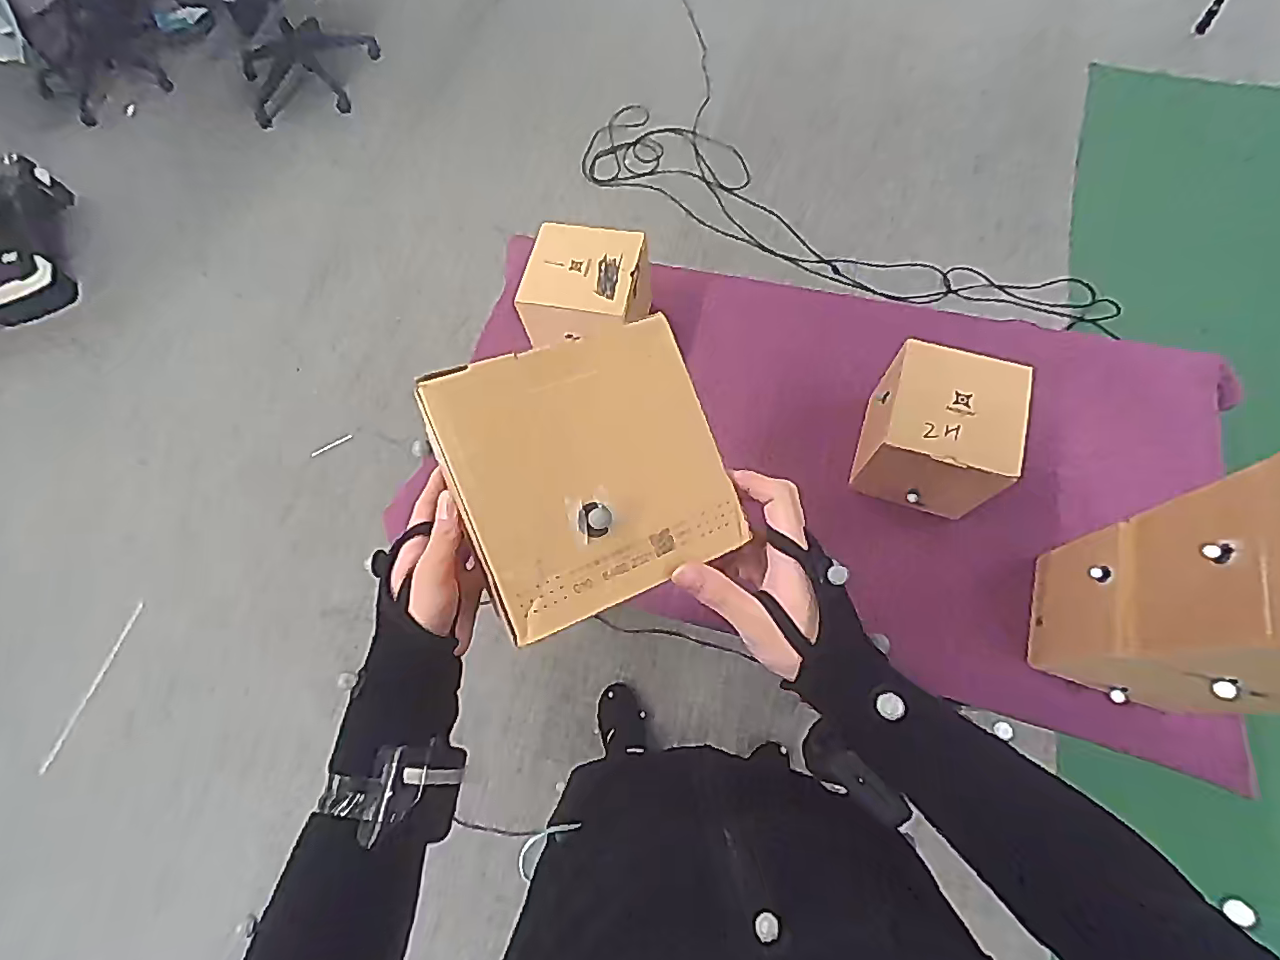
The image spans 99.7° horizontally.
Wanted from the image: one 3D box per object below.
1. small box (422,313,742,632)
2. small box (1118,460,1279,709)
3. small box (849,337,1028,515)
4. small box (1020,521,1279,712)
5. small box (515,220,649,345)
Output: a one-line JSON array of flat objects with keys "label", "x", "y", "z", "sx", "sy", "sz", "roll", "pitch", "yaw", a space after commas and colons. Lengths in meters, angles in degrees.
[{"label": "small box", "x": -0.051, "y": 0.001, "z": 0.415, "sx": 0.168, "sy": 0.179, "sz": 0.176, "roll": -21, "pitch": 90, "yaw": -20}, {"label": "small box", "x": 0.618, "y": 0.110, "z": 0.529, "sx": 0.168, "sy": 0.176, "sz": 0.179, "roll": 17, "pitch": 70, "yaw": 12}, {"label": "small box", "x": 0.425, "y": -0.072, "z": 0.792, "sx": 0.168, "sy": 0.176, "sz": 0.179, "roll": 18, "pitch": 71, "yaw": 11}, {"label": "small box", "x": 0.626, "y": 0.174, "z": 0.679, "sx": 0.179, "sy": 0.176, "sz": 0.168, "roll": 18, "pitch": 70, "yaw": 11}, {"label": "small box", "x": -0.085, "y": -0.305, "z": 0.917, "sx": 0.179, "sy": 0.176, "sz": 0.168, "roll": 11, "pitch": 70, "yaw": 9}]
